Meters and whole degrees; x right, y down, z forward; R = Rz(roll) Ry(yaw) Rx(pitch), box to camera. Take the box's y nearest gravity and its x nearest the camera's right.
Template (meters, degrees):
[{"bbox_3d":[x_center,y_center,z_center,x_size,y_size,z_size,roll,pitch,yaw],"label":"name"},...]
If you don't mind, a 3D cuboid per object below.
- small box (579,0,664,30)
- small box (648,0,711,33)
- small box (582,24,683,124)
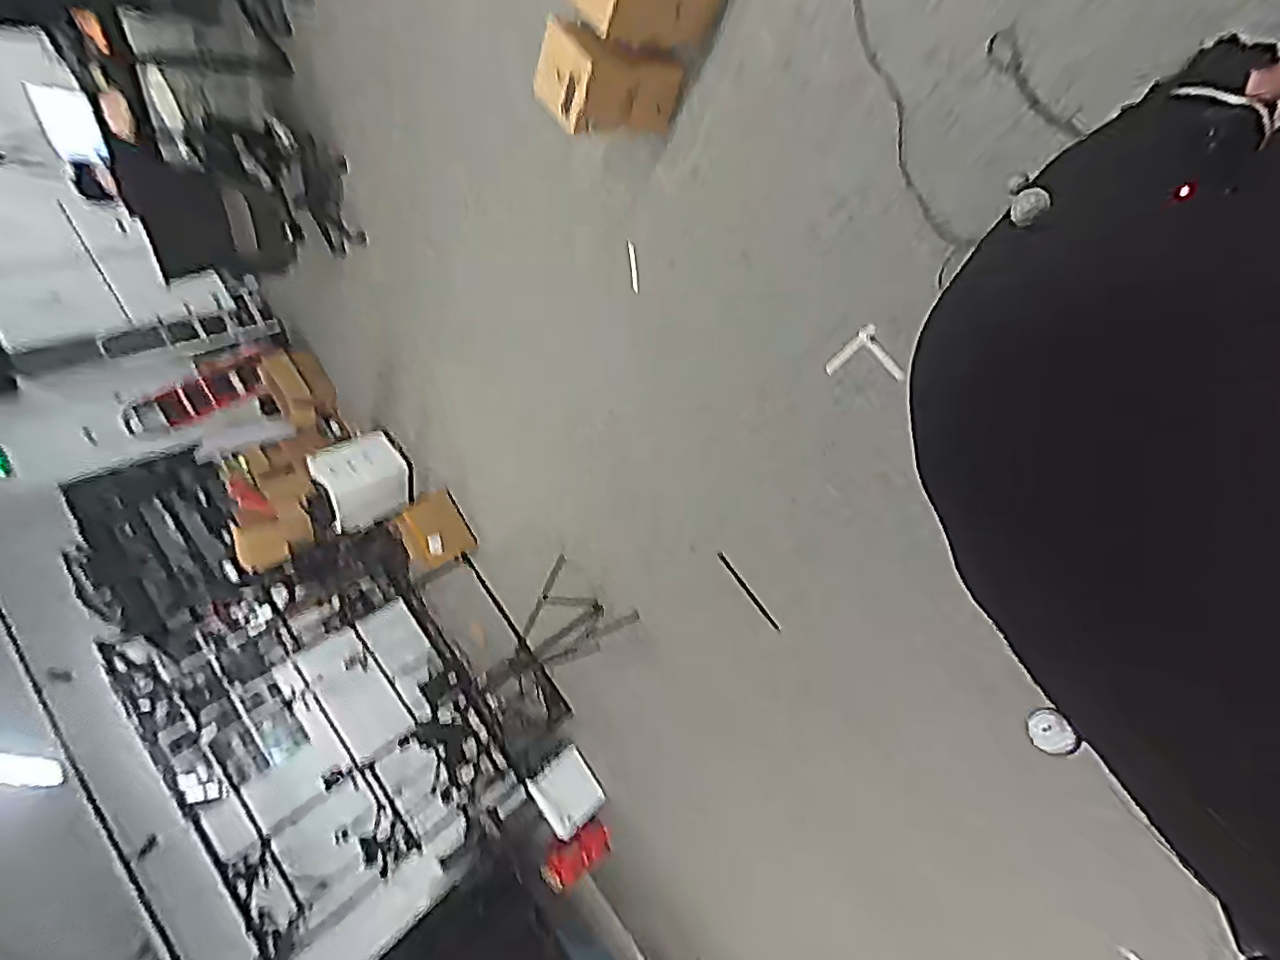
[{"bbox_3d":[-0.039,-1.105,1.146,0.168,0.176,0.179,53,144,8],"label":"small box"},{"bbox_3d":[0.075,-1.175,1.242,0.168,0.176,0.179,56,143,3],"label":"small box"},{"bbox_3d":[-0.020,-1.072,1.429,0.179,0.176,0.168,49,142,13],"label":"small box"}]
